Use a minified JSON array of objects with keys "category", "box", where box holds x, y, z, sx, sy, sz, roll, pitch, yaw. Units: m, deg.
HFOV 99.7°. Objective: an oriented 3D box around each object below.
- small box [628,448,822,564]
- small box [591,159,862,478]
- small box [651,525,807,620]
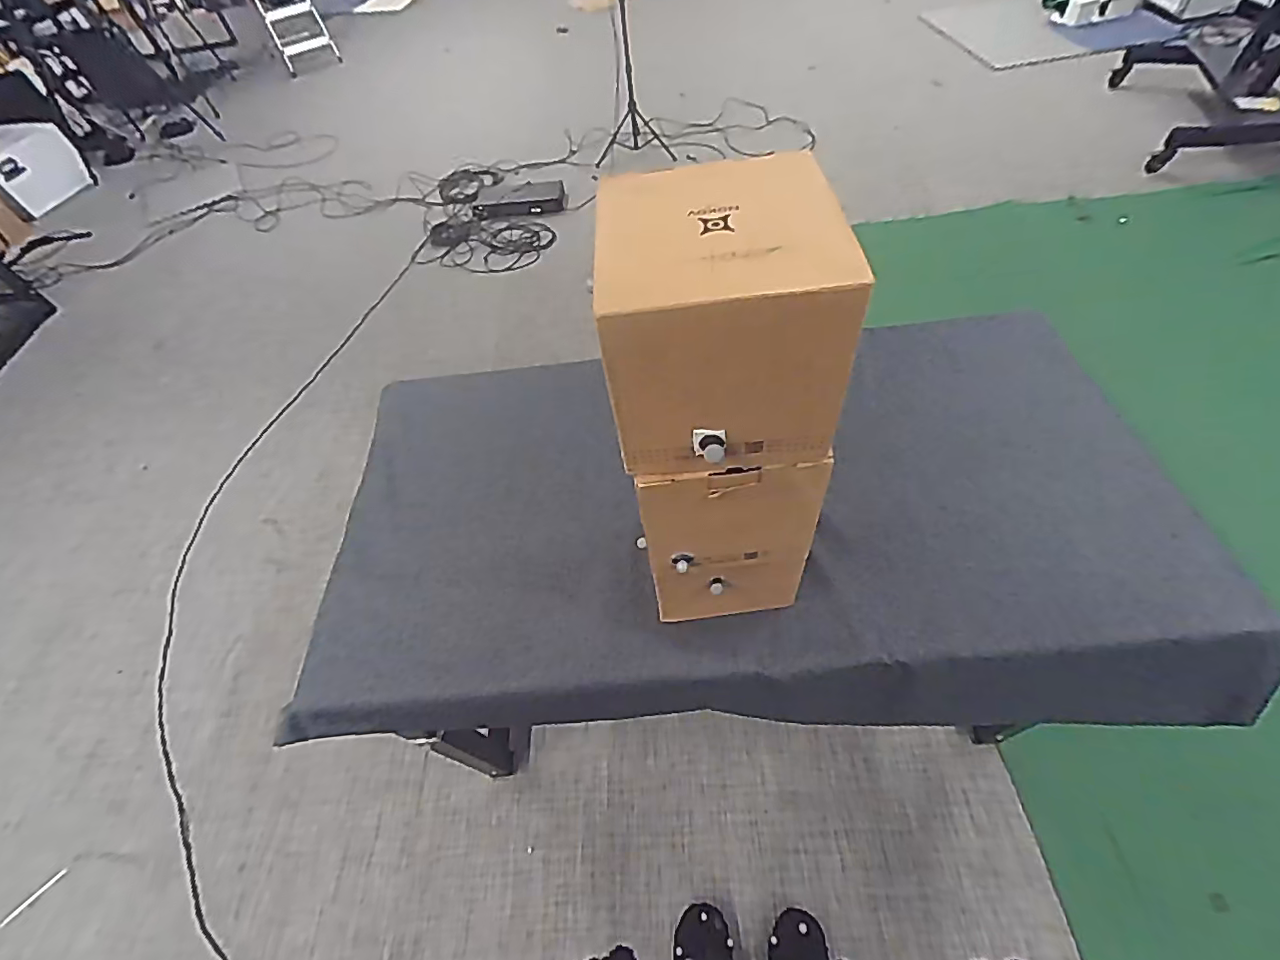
[{"category":"small box","box":[0.077,-0.025,0.564,0.168,0.176,0.179,-8,52,2]},{"category":"small box","box":[0.057,-0.124,0.437,0.168,0.176,0.179,-7,54,5]},{"category":"small box","box":[0.099,0.065,0.703,0.179,0.176,0.168,-11,51,-1]}]
